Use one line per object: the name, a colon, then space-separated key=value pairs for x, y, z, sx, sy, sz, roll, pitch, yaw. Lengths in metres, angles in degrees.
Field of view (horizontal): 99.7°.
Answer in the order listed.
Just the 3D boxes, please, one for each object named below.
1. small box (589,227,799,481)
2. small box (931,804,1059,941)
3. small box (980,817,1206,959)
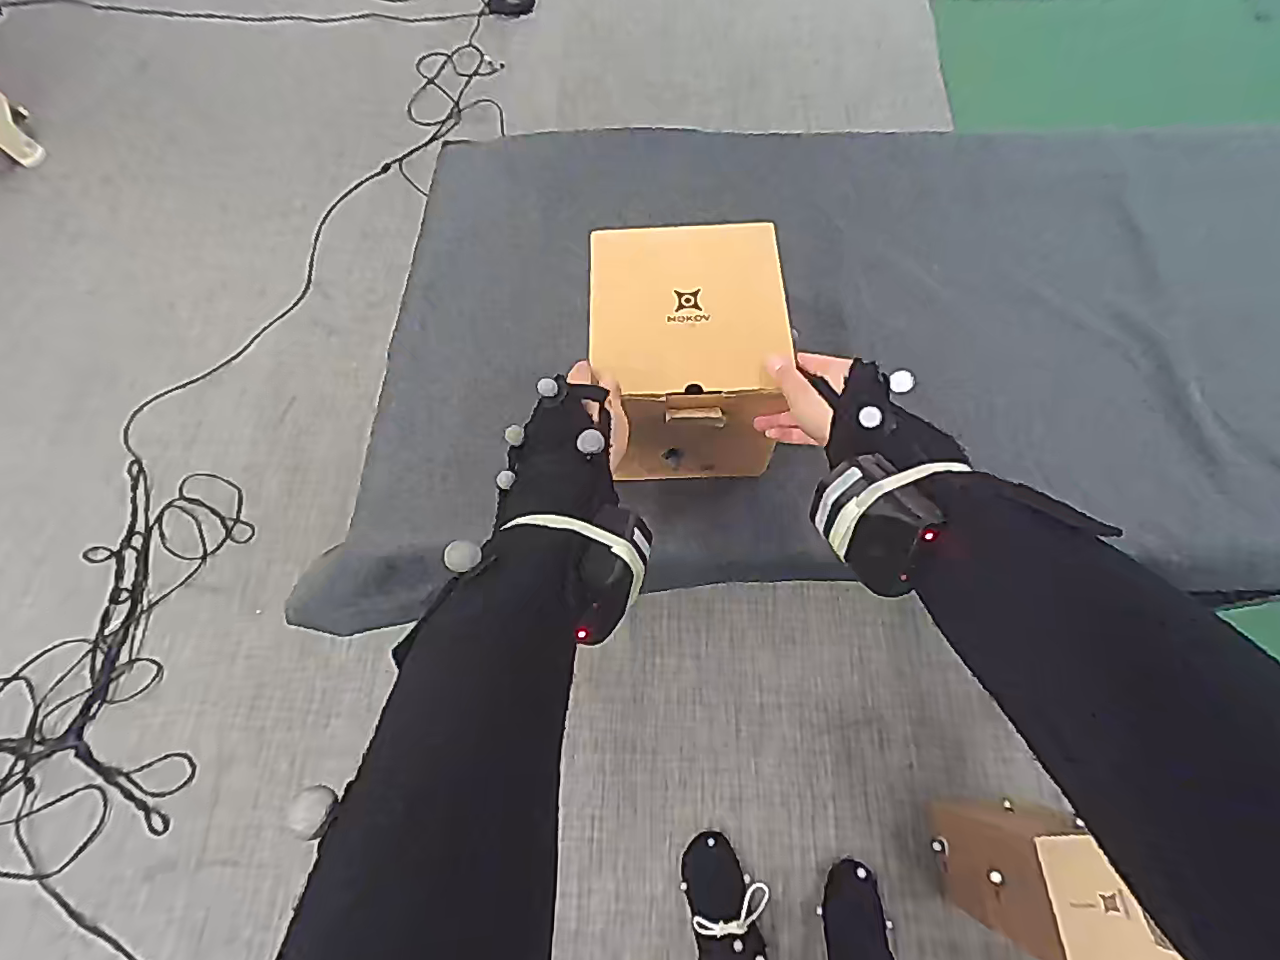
small box: x=0.041 y=-0.112 z=0.522 sx=0.168 sy=0.176 sz=0.179 roll=-2 pitch=68 yaw=1
small box: x=0.654 y=0.678 z=0.952 sx=0.179 sy=0.176 sz=0.168 roll=-3 pitch=66 yaw=1
small box: x=0.654 y=0.611 z=0.802 sx=0.179 sy=0.176 sz=0.168 roll=-3 pitch=66 yaw=2
